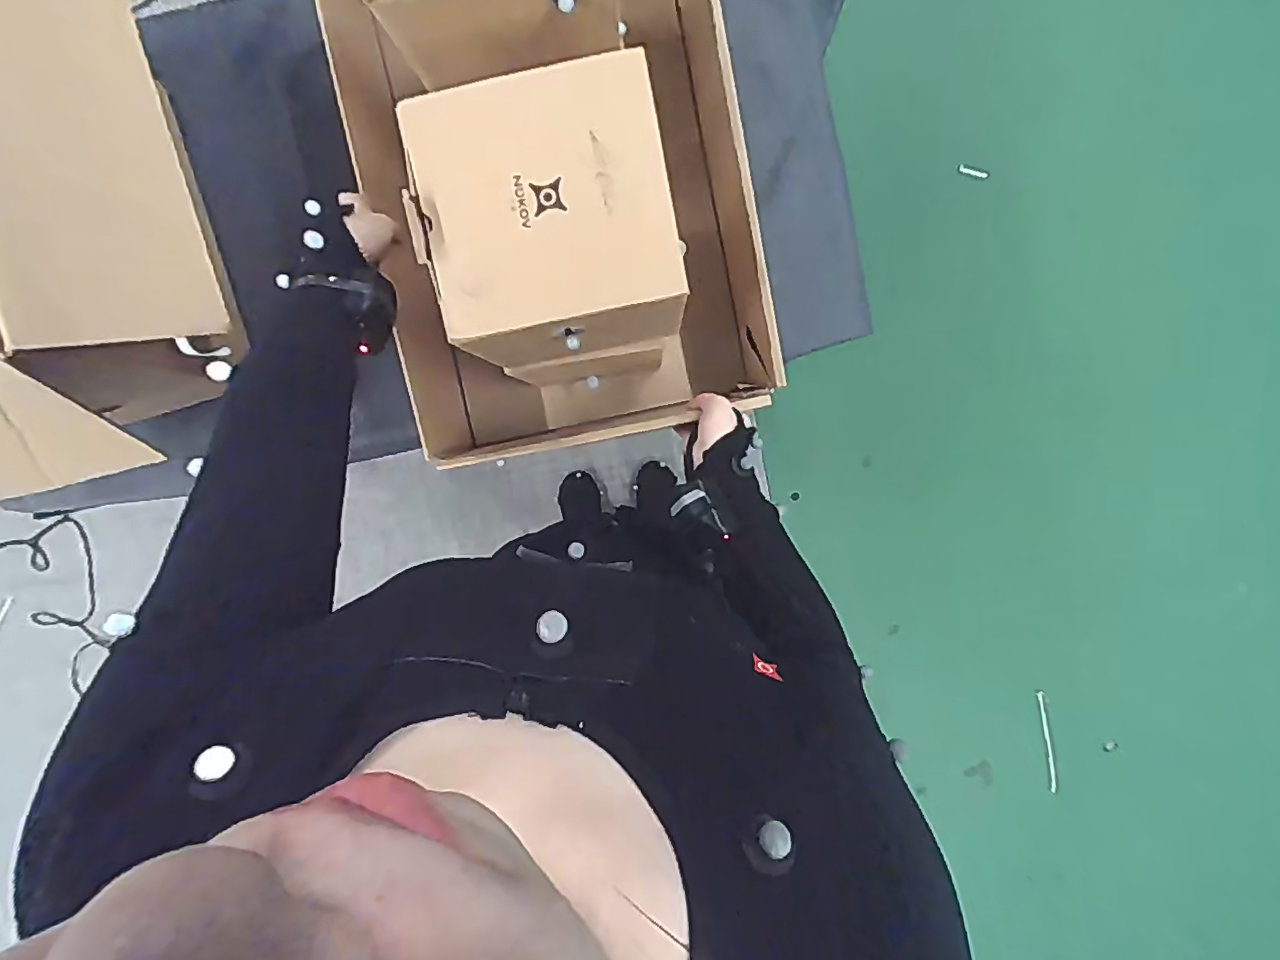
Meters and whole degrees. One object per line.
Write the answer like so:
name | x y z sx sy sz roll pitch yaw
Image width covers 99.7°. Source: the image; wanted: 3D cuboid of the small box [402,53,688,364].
small box | -0.063 -0.201 0.454 0.179 0.176 0.168 -12 96 2

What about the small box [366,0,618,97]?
small box | -0.117 -0.426 0.433 0.179 0.176 0.168 -12 98 1
